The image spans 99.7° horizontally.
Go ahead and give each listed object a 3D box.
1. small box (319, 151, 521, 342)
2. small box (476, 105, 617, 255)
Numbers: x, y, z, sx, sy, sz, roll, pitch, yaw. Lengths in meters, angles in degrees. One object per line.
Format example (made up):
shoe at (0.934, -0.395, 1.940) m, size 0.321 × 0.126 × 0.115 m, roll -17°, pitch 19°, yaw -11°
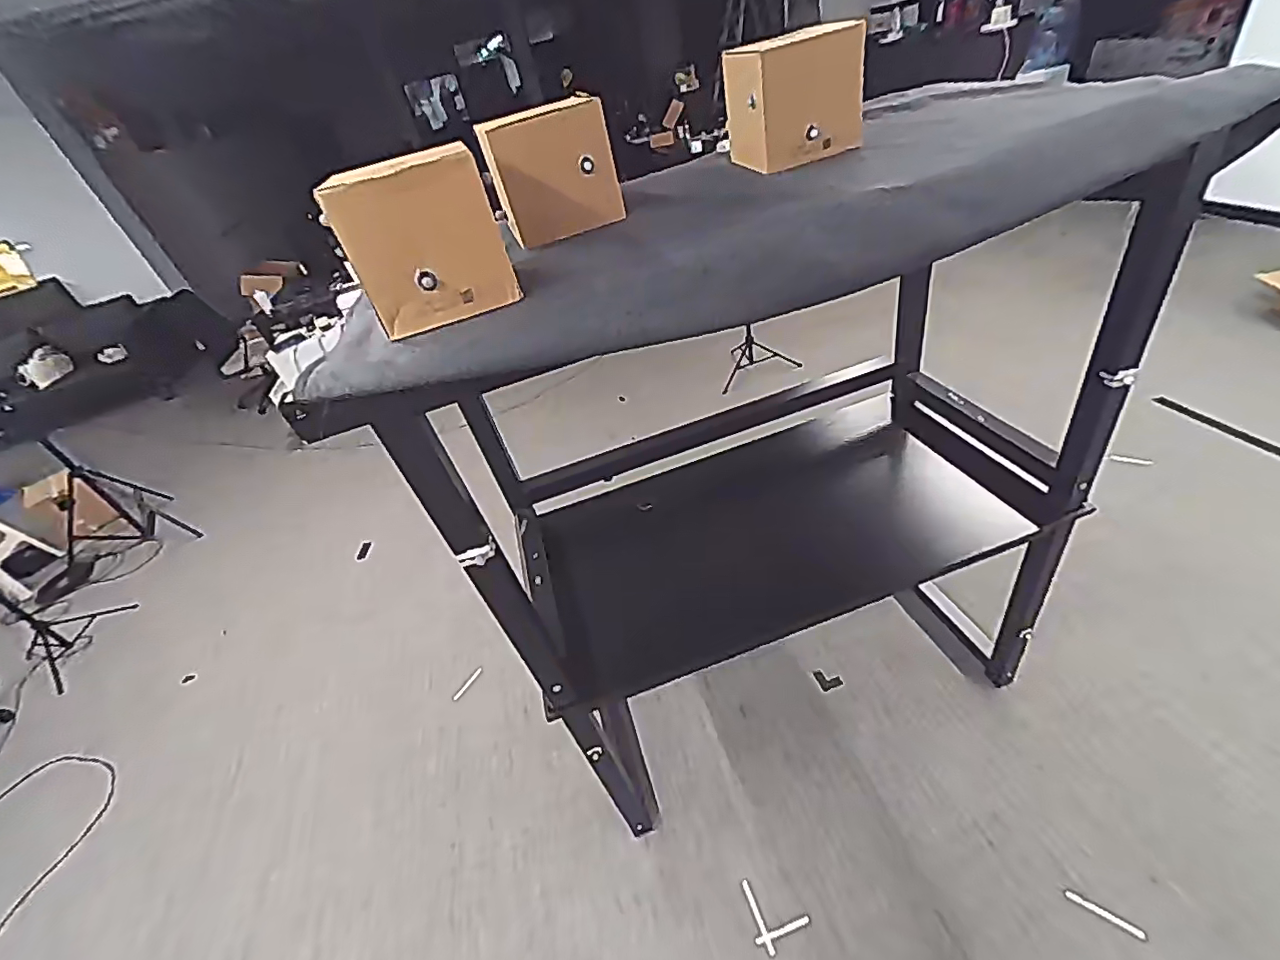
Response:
small box at (-0.261, -0.292, 0.675) m, size 0.168 × 0.176 × 0.179 m, roll -21°, pitch 38°, yaw -8°
small box at (-0.145, -0.486, 0.874) m, size 0.179 × 0.176 × 0.168 m, roll -21°, pitch 38°, yaw -8°
